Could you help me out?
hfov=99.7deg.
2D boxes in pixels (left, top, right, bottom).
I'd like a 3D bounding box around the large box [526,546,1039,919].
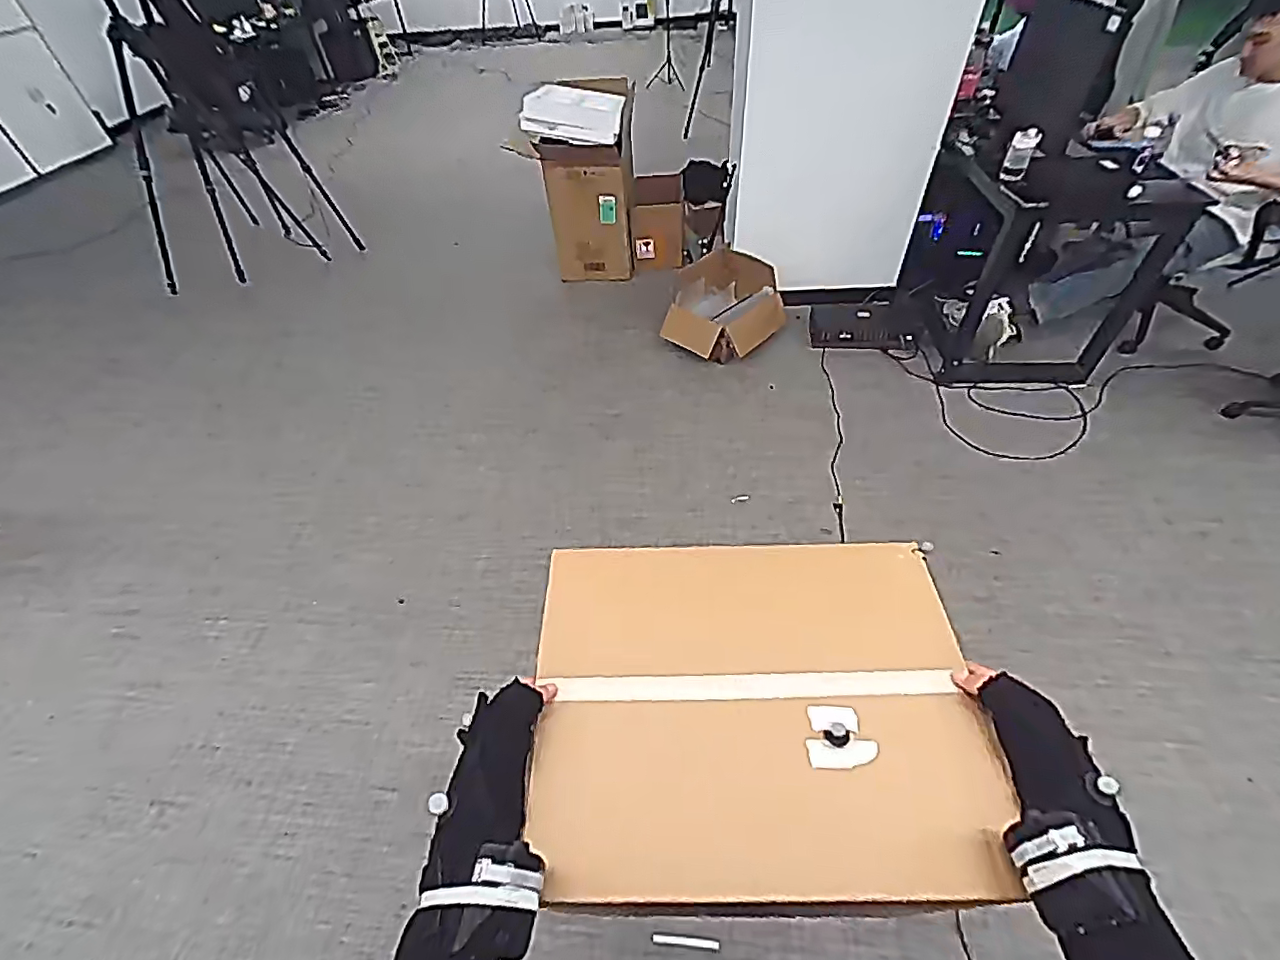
[{"bbox_3d":[0.108,0.293,0.620,0.408,0.320,0.320,-1,50,1],"label":"large box"}]
